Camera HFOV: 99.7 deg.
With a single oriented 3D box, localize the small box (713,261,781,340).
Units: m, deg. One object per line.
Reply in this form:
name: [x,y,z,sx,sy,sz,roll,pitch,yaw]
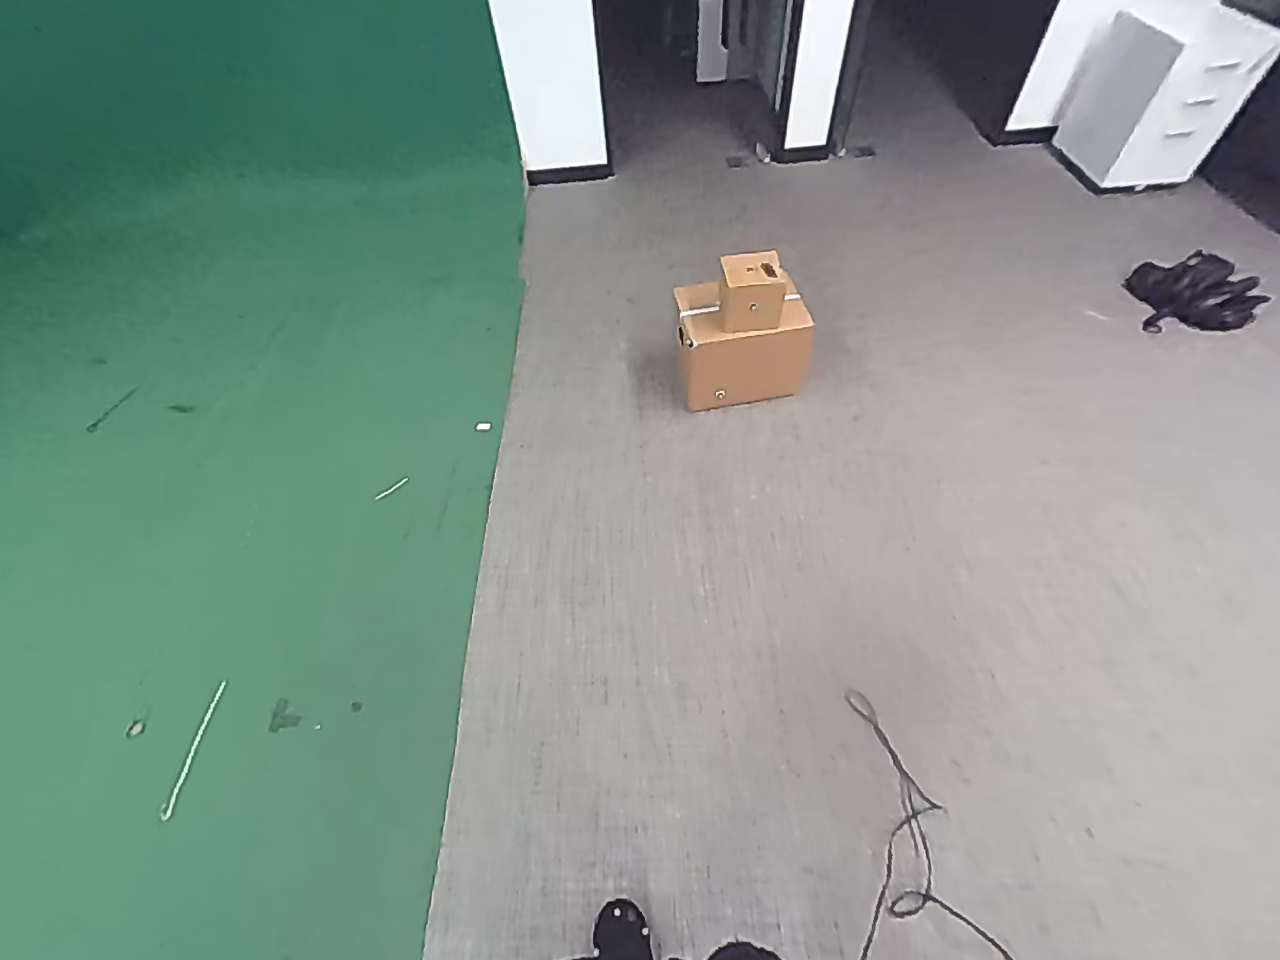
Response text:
small box: [0.333,-0.565,1.712,0.179,0.176,0.168,-6,53,1]
